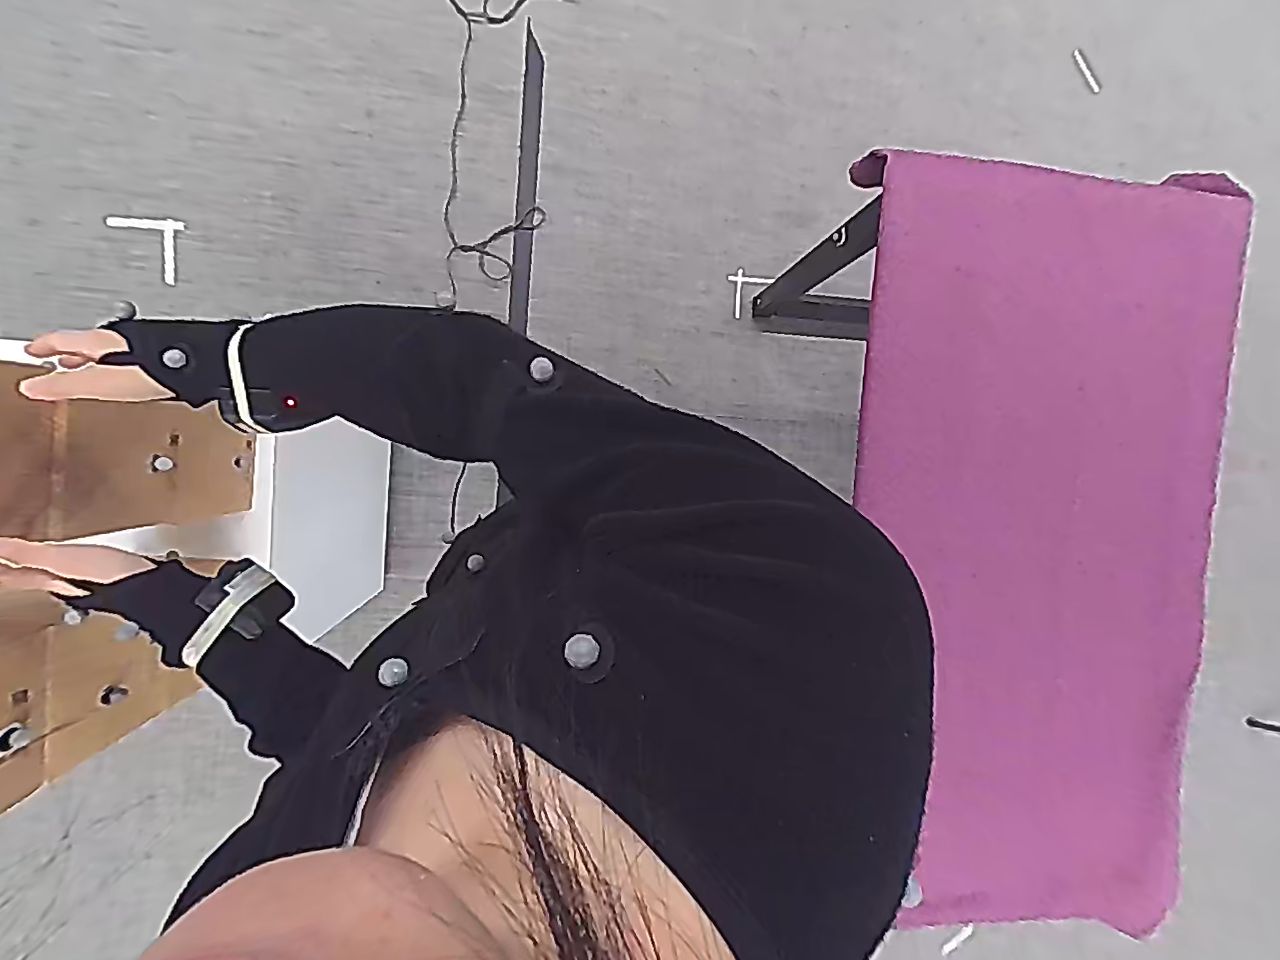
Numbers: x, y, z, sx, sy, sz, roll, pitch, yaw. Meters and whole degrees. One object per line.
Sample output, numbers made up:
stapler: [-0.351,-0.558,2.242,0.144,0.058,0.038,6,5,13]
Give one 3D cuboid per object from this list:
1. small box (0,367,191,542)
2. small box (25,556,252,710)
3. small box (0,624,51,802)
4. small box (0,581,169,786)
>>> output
small box: [-0.648,-0.033,0.589,0.179,0.176,0.168,6,93,-8]
small box: [-0.696,0.205,0.764,0.179,0.176,0.168,5,92,-6]
small box: [-0.658,0.221,0.441,0.179,0.176,0.168,3,94,-7]
small box: [-0.675,0.213,0.603,0.179,0.176,0.168,3,93,-6]
